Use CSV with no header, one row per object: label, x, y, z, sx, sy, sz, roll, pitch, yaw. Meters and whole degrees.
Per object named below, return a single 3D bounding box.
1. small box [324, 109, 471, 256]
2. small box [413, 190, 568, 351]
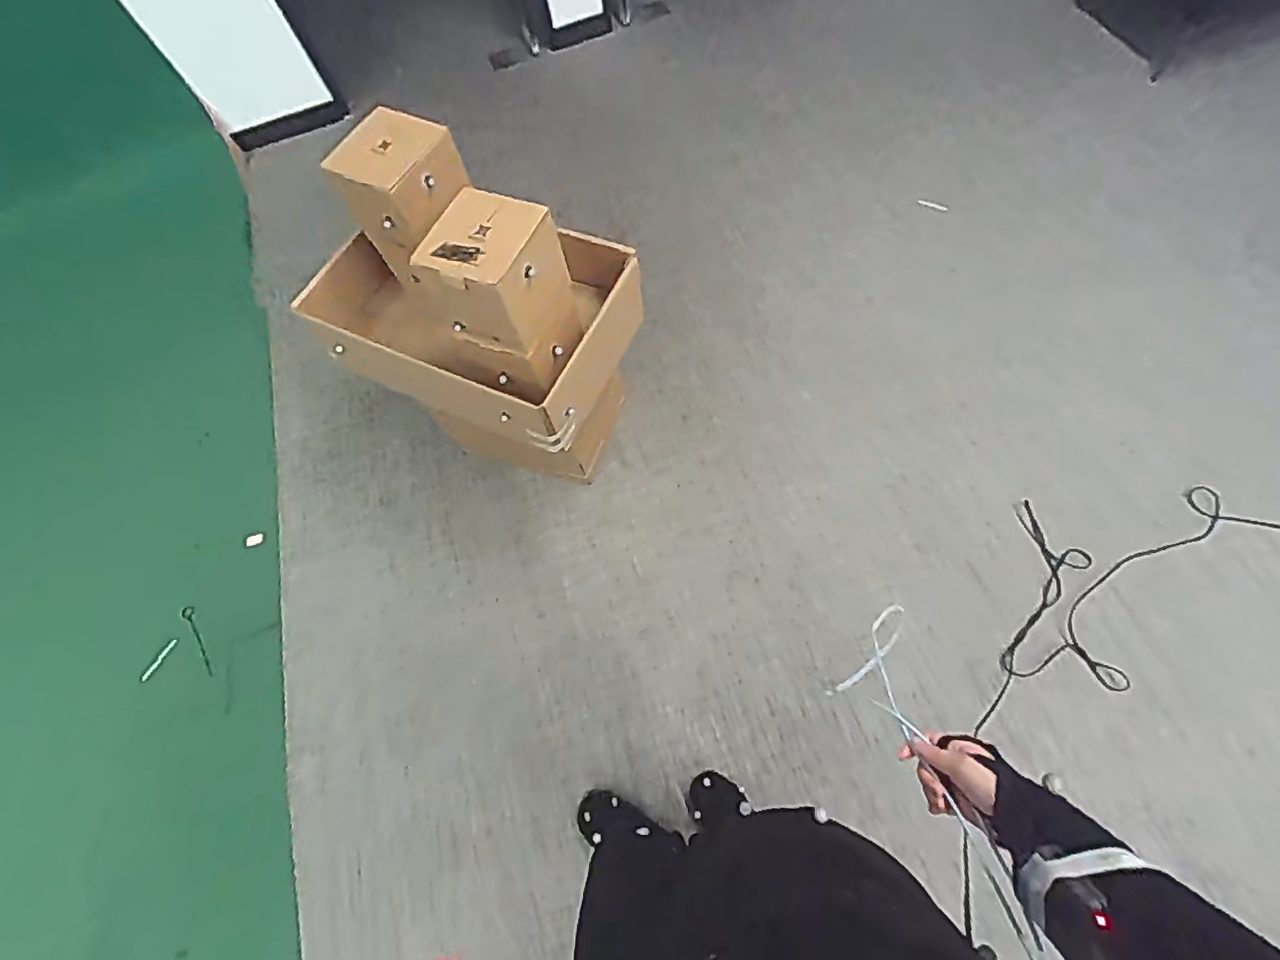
small box,-0.443,-0.557,1.034,0.168,0.176,0.179,26,72,14
small box,-0.240,-0.350,0.922,0.168,0.176,0.179,20,70,14
